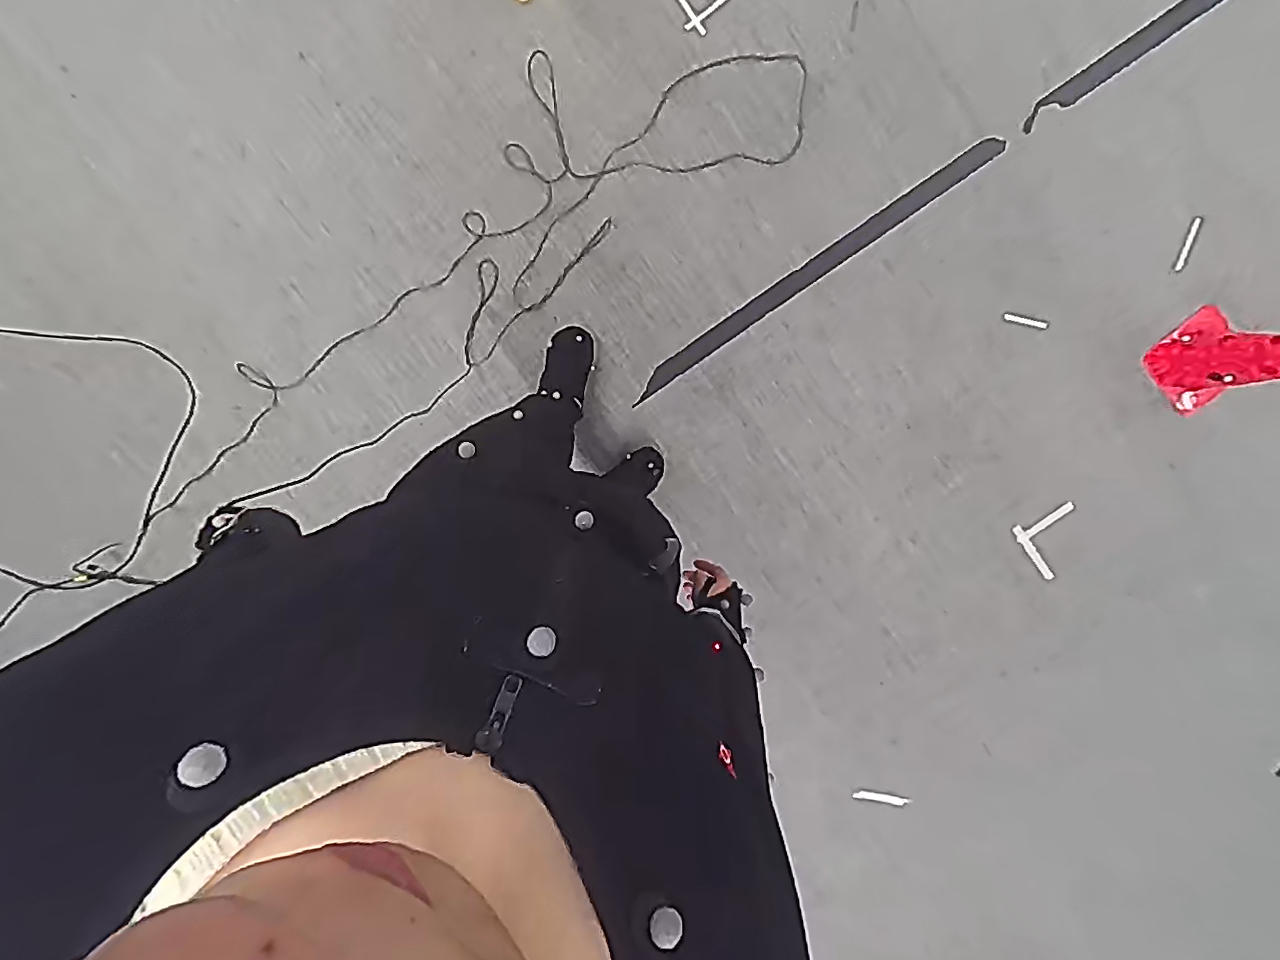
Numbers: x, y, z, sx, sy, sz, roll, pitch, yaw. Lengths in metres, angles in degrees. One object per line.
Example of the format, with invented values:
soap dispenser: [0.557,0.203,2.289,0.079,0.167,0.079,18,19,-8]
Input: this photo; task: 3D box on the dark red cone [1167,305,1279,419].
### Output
dark red cone: [1.341,-0.245,1.087,0.202,0.394,0.201,-42,95,7]
